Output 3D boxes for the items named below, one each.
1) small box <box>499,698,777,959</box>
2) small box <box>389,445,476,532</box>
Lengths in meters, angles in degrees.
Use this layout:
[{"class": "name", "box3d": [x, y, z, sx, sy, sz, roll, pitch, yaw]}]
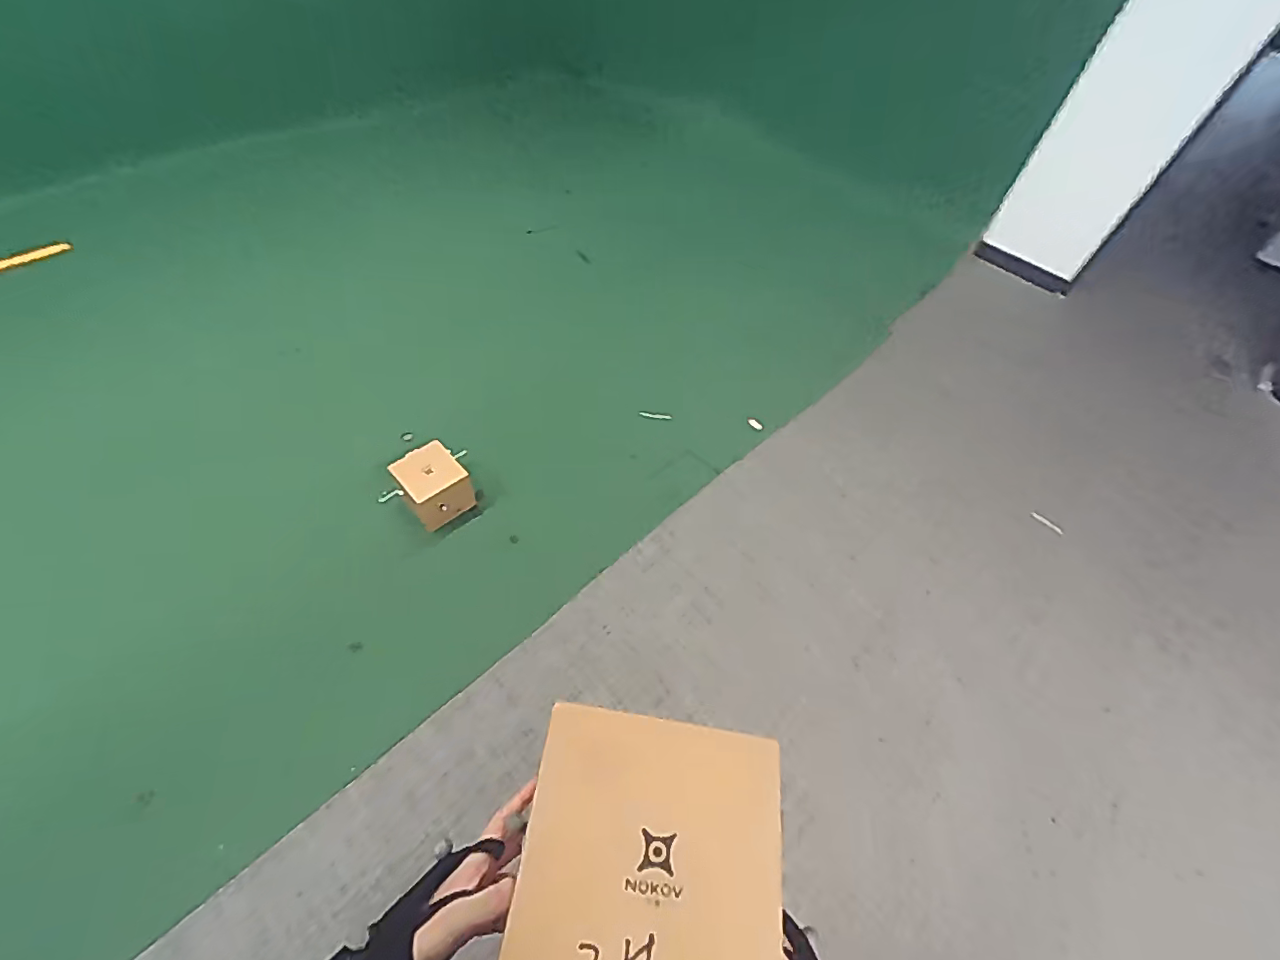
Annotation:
[{"class": "small box", "box3d": [-0.006, 0.286, 0.407, 0.168, 0.176, 0.179, 11, 55, -3]}, {"class": "small box", "box3d": [-0.625, 0.034, 1.648, 0.168, 0.176, 0.179, -36, 63, -26]}]
